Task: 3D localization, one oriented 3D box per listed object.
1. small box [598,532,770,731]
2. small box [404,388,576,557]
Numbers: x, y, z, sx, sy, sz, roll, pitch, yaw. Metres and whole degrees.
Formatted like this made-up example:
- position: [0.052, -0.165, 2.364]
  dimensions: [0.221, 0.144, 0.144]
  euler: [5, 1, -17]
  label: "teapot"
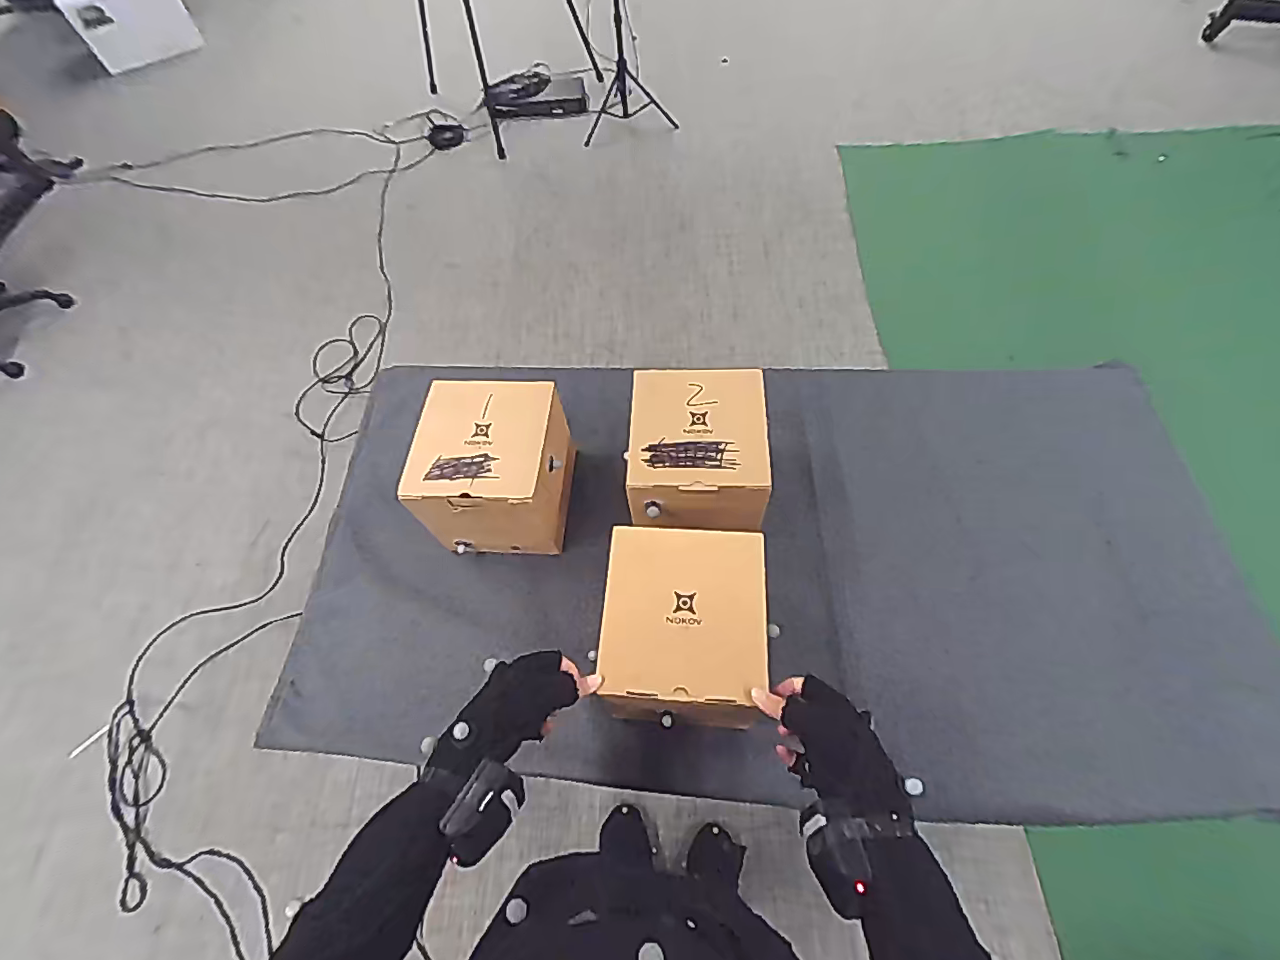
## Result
- position: [0.051, 0.177, 0.619]
  dimensions: [0.168, 0.176, 0.179]
  euler: [2, 60, 5]
  label: "small box"
- position: [-0.188, -0.005, 0.740]
  dimensions: [0.168, 0.176, 0.179]
  euler: [2, 59, 5]
  label: "small box"
